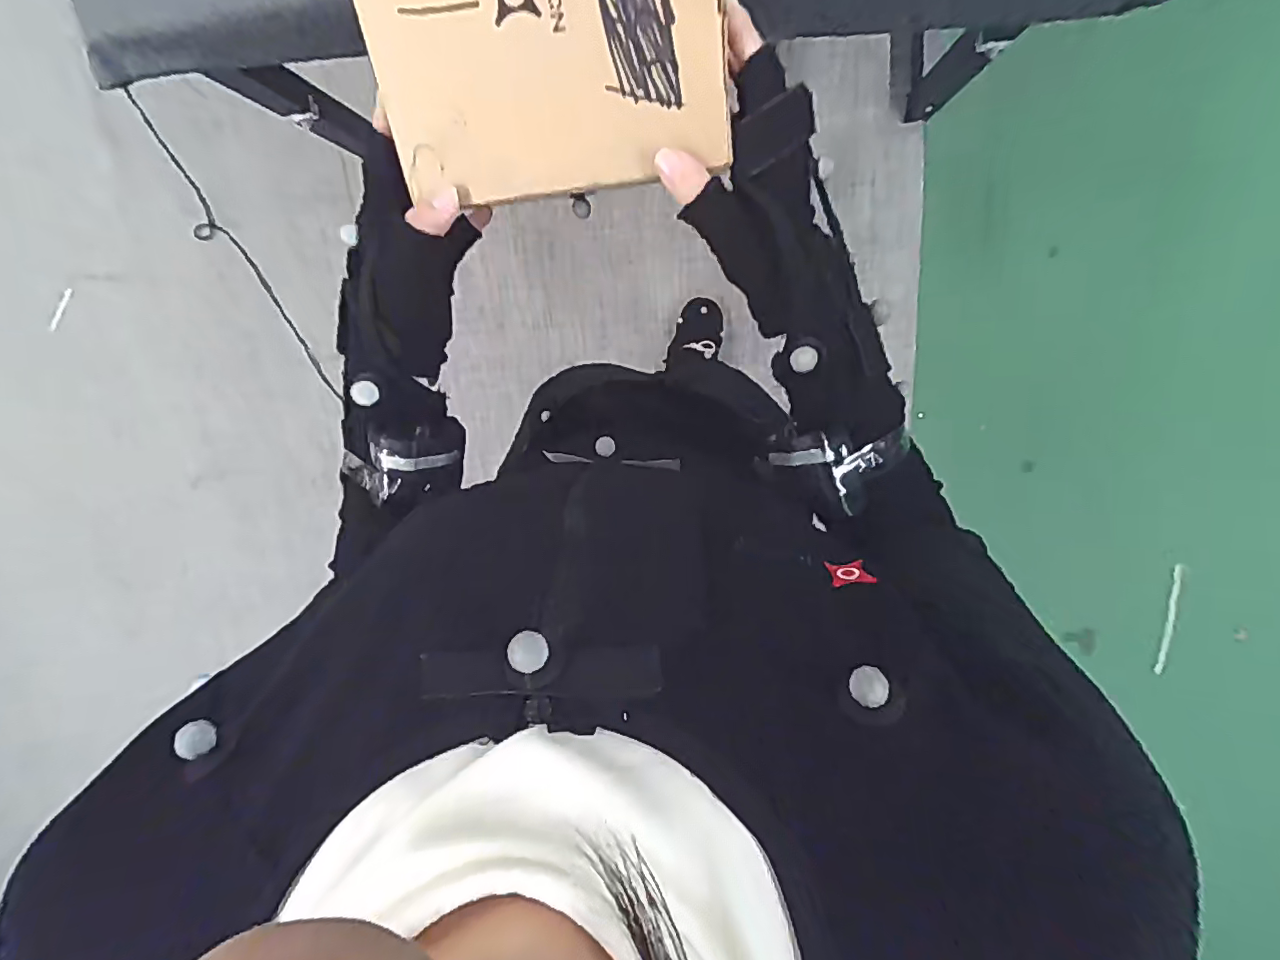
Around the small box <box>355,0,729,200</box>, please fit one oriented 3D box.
[{"bbox_3d":[-0.043,-0.270,0.317,0.179,0.176,0.168,-3,119,9],"label":"small box"}]
